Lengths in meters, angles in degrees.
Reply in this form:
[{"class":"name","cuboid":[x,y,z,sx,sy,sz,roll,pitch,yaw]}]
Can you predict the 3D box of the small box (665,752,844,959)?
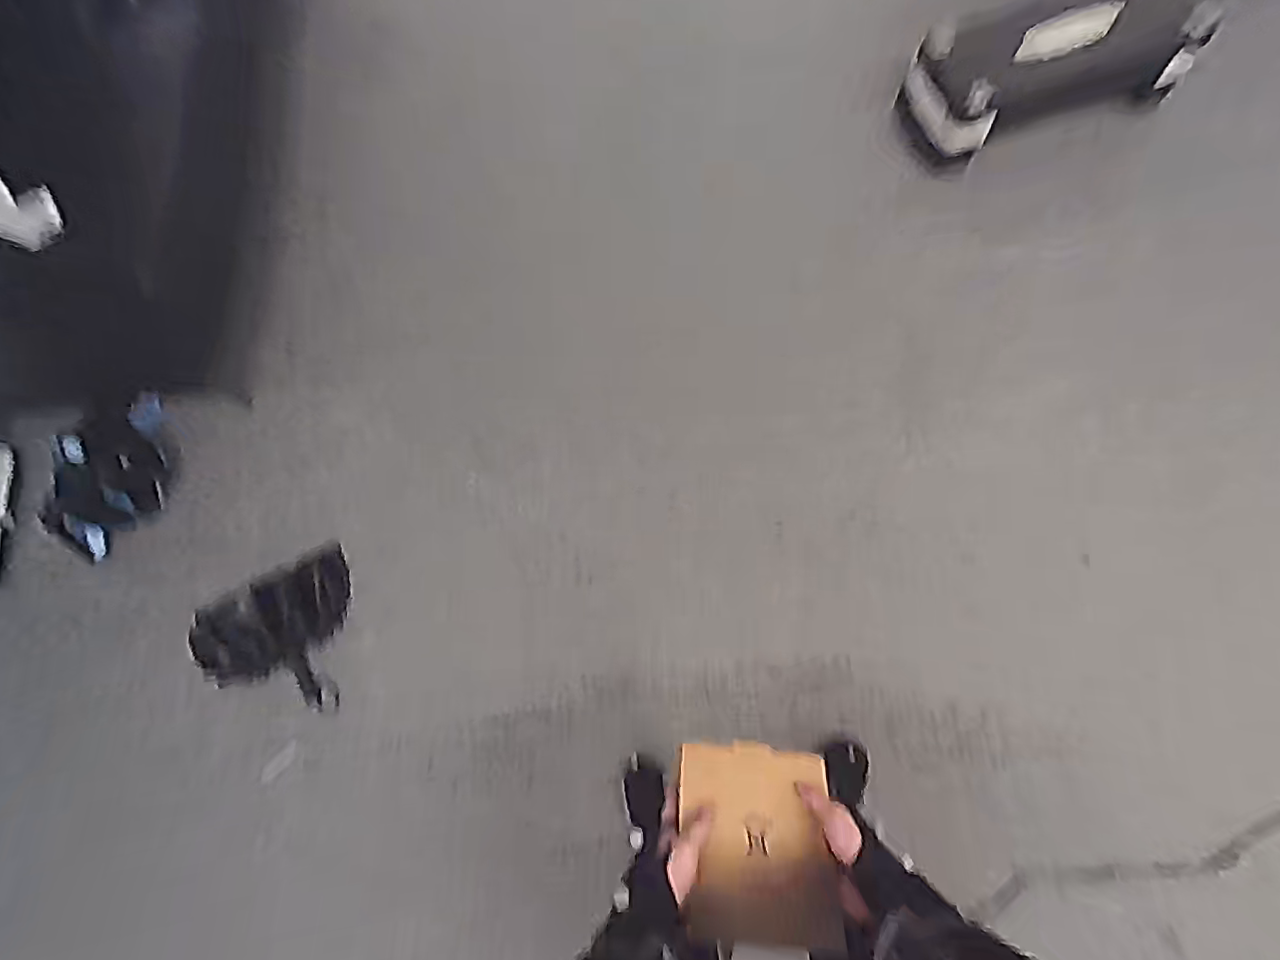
[{"class":"small box","cuboid":[0.118,0.442,0.633,0.168,0.176,0.179,5,50,2]}]
